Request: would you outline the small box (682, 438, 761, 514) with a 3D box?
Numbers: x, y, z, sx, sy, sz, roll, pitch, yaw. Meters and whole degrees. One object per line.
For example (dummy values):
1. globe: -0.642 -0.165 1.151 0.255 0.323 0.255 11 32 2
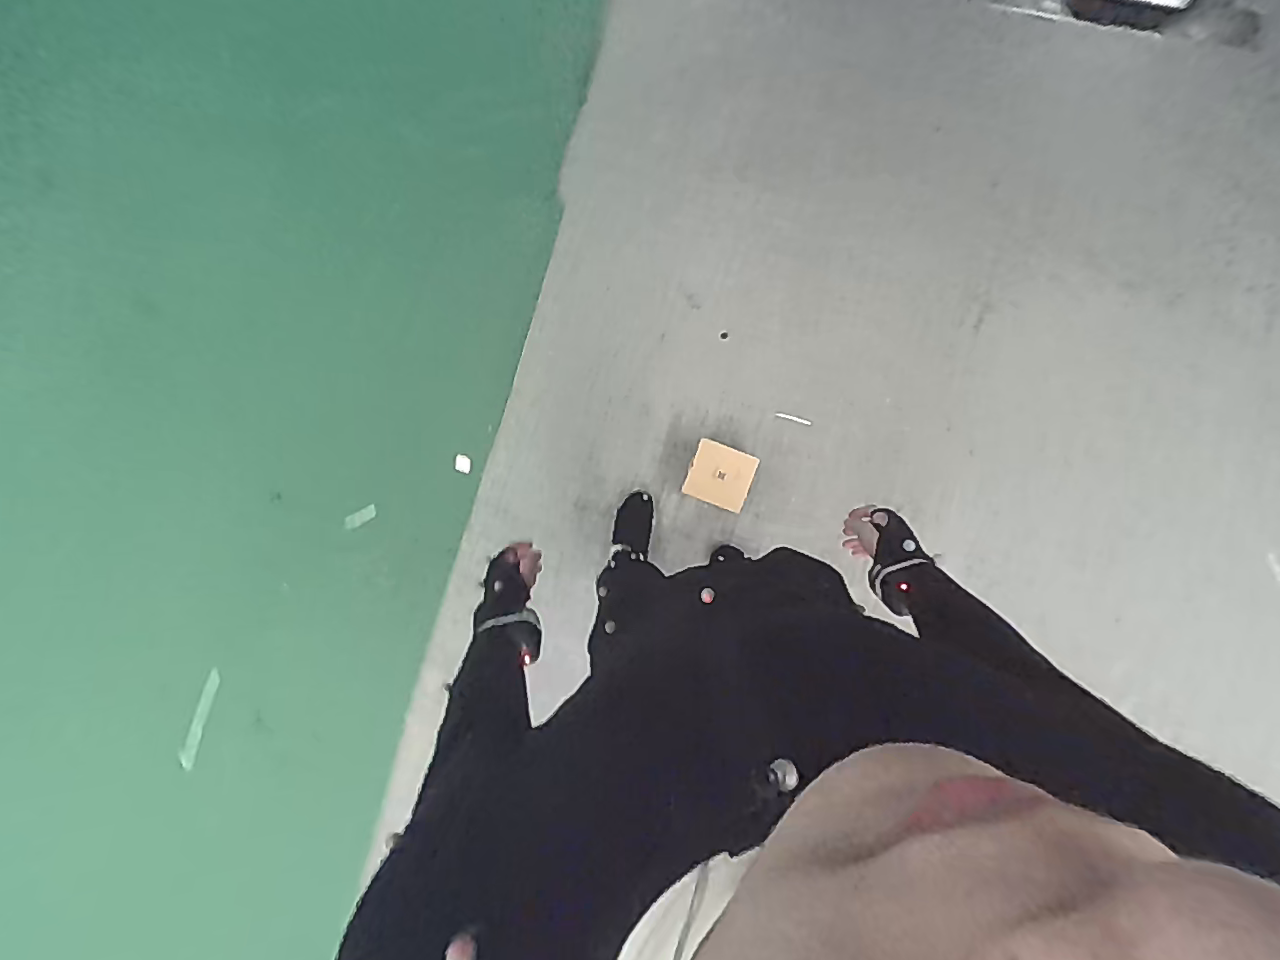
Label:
1. small box: 0.231 -0.006 1.571 0.179 0.176 0.168 22 89 5
